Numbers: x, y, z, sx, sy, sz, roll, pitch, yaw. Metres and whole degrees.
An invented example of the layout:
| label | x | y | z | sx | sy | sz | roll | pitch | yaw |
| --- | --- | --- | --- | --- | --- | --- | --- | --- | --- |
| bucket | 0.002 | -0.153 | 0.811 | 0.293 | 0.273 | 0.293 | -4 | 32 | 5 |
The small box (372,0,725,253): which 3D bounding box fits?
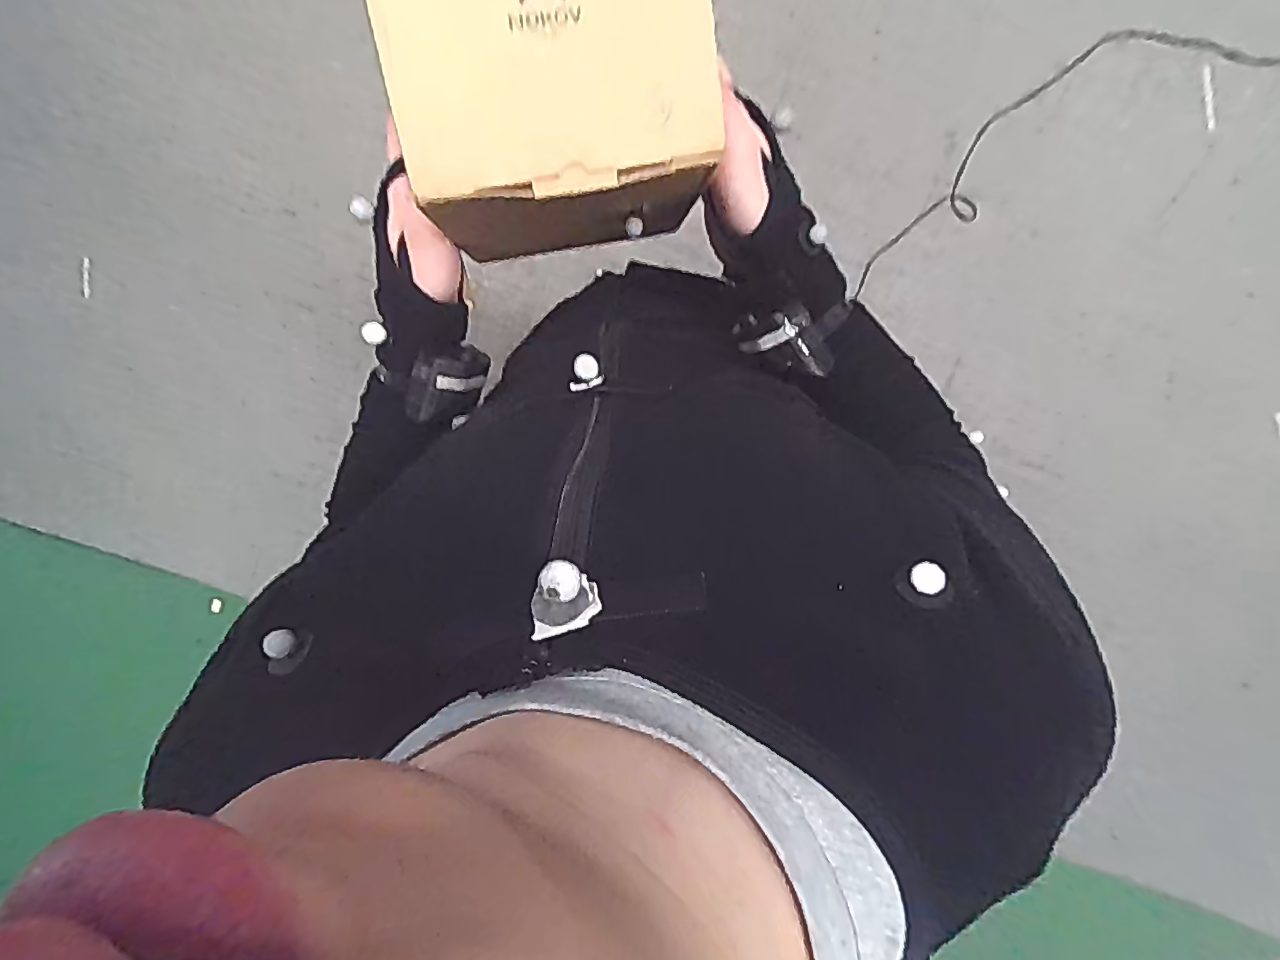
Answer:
| label | x | y | z | sx | sy | sz | roll | pitch | yaw |
| --- | --- | --- | --- | --- | --- | --- | --- | --- | --- |
| small box | -0.054 | -0.254 | 0.340 | 0.168 | 0.176 | 0.179 | -11 | 102 | -4 |
